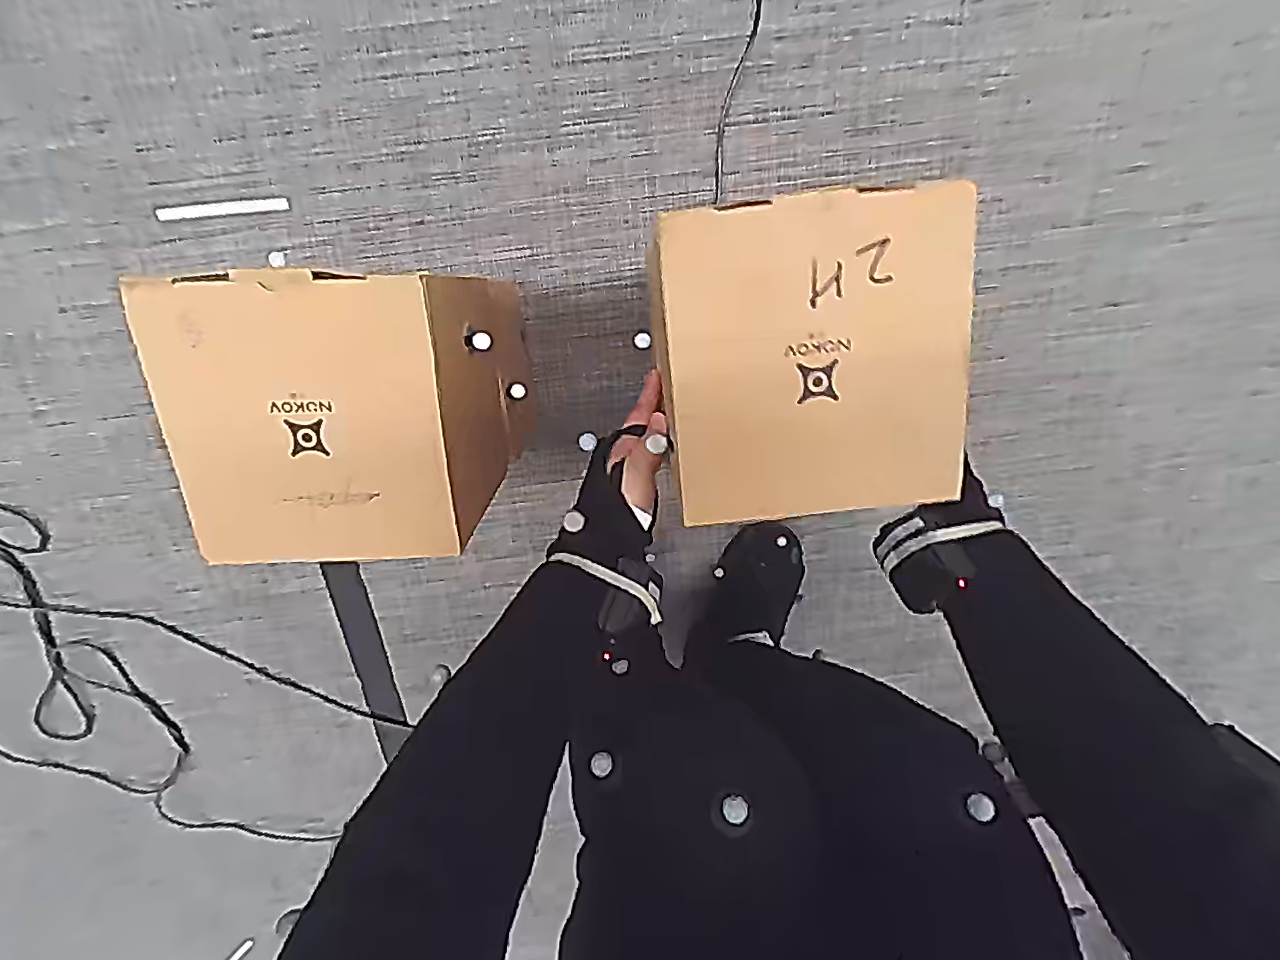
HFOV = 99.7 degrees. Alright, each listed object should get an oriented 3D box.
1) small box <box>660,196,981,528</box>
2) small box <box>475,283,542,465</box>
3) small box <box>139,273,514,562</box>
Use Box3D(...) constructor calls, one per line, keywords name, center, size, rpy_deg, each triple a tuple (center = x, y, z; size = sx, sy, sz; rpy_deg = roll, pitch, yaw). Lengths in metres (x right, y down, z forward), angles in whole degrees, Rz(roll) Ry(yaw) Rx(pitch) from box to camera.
Box3D(name="small box", center=(0.104, -0.081, 0.383), size=(0.168, 0.176, 0.179), rpy_deg=(-5, 105, 1))
Box3D(name="small box", center=(-0.209, -0.108, 0.561), size=(0.179, 0.176, 0.168), rpy_deg=(-6, 110, -1))
Box3D(name="small box", center=(-0.197, -0.057, 0.404), size=(0.168, 0.176, 0.179), rpy_deg=(-2, 111, -1))
